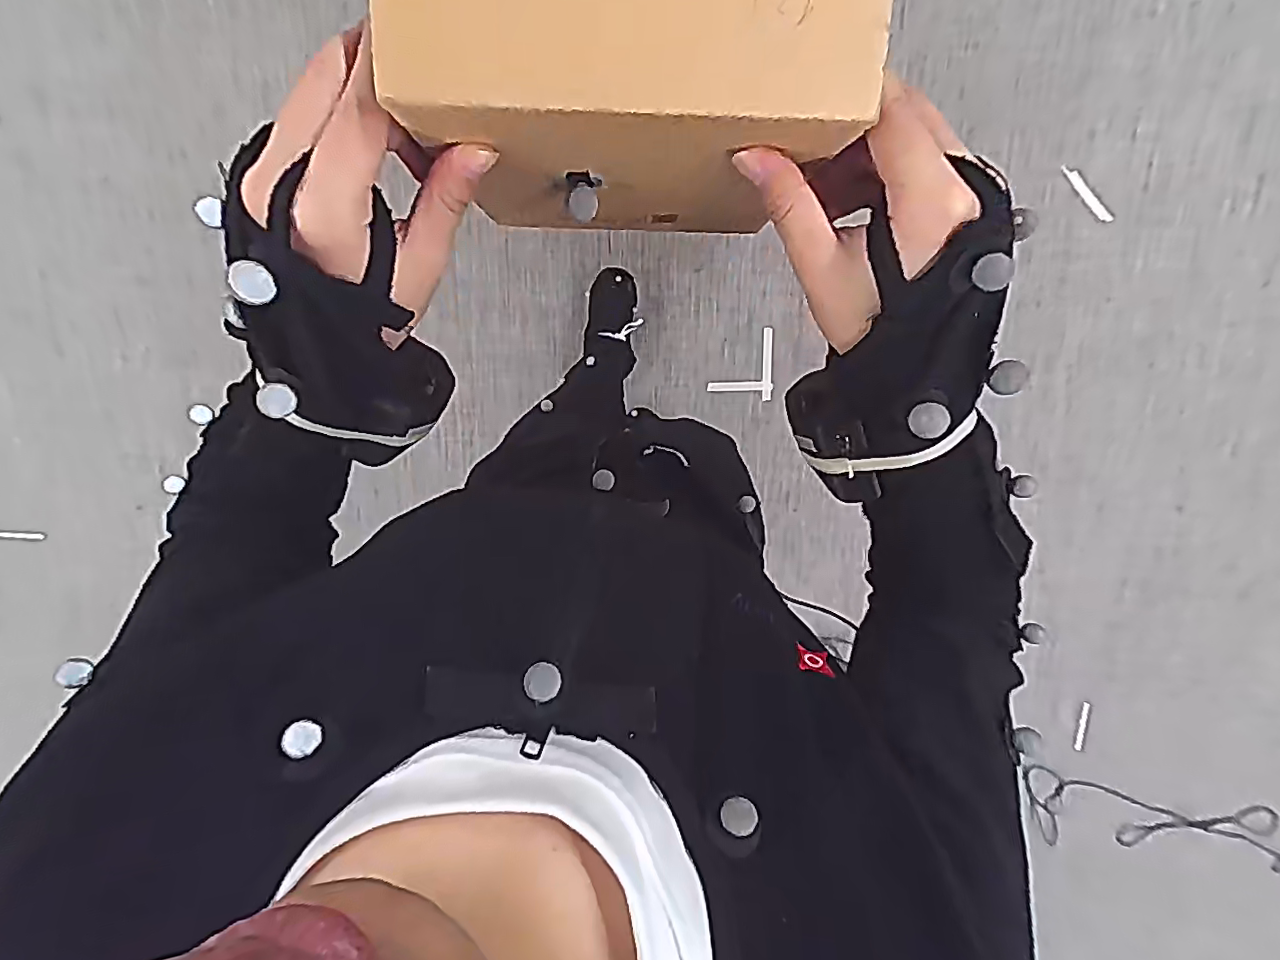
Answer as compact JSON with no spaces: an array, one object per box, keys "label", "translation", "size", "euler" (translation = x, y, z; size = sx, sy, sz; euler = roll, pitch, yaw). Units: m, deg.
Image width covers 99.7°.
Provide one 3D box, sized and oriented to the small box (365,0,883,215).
[{"label":"small box","translation":[-0.004,-0.228,0.235],"size":[0.168,0.176,0.179],"euler":[1,101,-1]}]
